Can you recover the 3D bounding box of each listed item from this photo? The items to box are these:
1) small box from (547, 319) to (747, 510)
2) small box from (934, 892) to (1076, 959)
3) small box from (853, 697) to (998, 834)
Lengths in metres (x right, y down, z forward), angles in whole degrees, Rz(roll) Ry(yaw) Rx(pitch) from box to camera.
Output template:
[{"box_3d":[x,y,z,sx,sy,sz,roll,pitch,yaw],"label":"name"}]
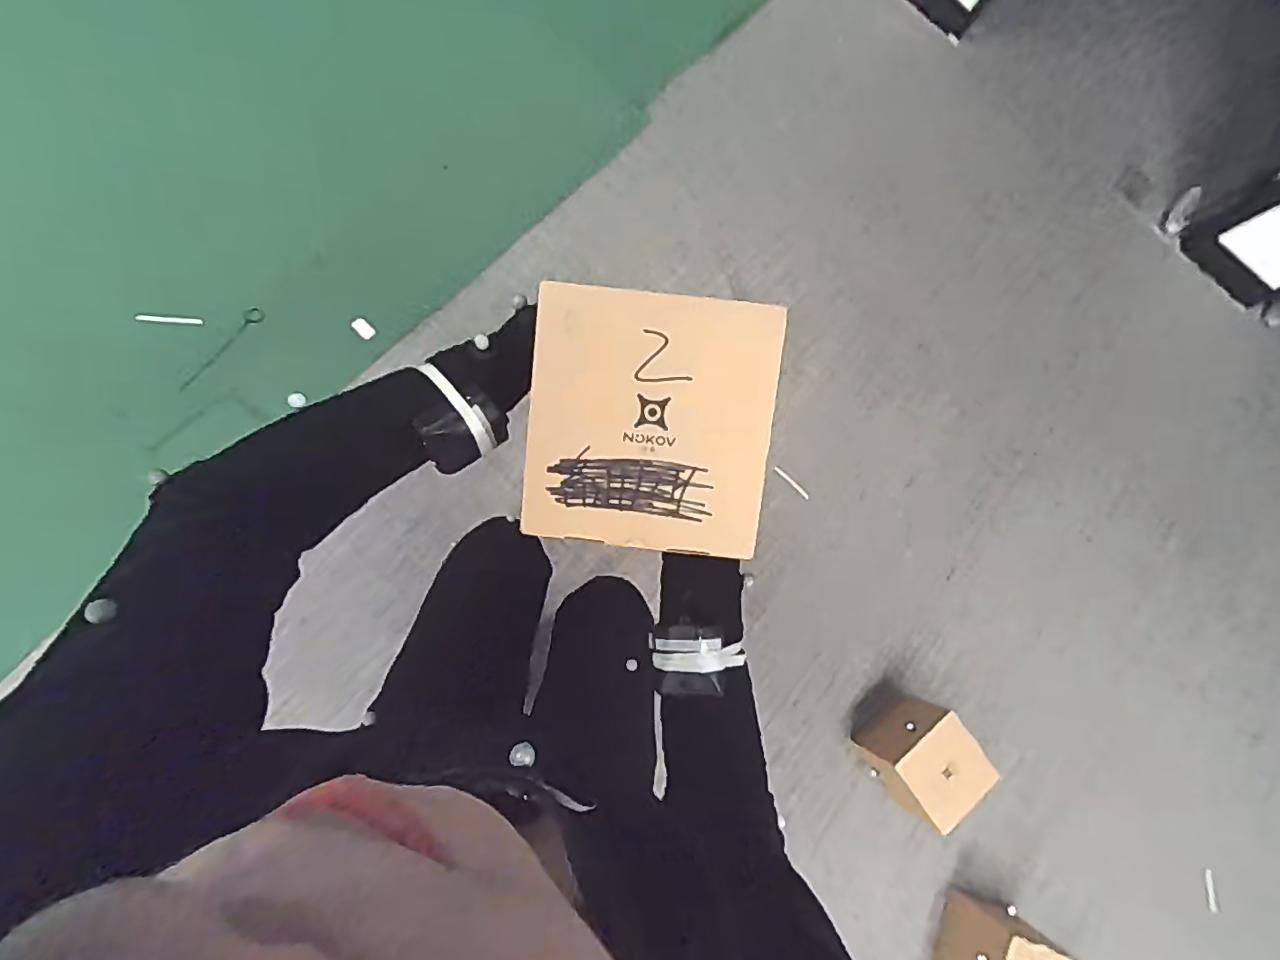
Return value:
[{"box_3d":[0.008,-0.073,0.606,0.179,0.176,0.168,9,99,1],"label":"small box"},{"box_3d":[0.741,1.001,1.107,0.168,0.176,0.179,25,77,-4],"label":"small box"},{"box_3d":[0.599,0.595,1.155,0.179,0.176,0.168,-34,87,-14],"label":"small box"}]
